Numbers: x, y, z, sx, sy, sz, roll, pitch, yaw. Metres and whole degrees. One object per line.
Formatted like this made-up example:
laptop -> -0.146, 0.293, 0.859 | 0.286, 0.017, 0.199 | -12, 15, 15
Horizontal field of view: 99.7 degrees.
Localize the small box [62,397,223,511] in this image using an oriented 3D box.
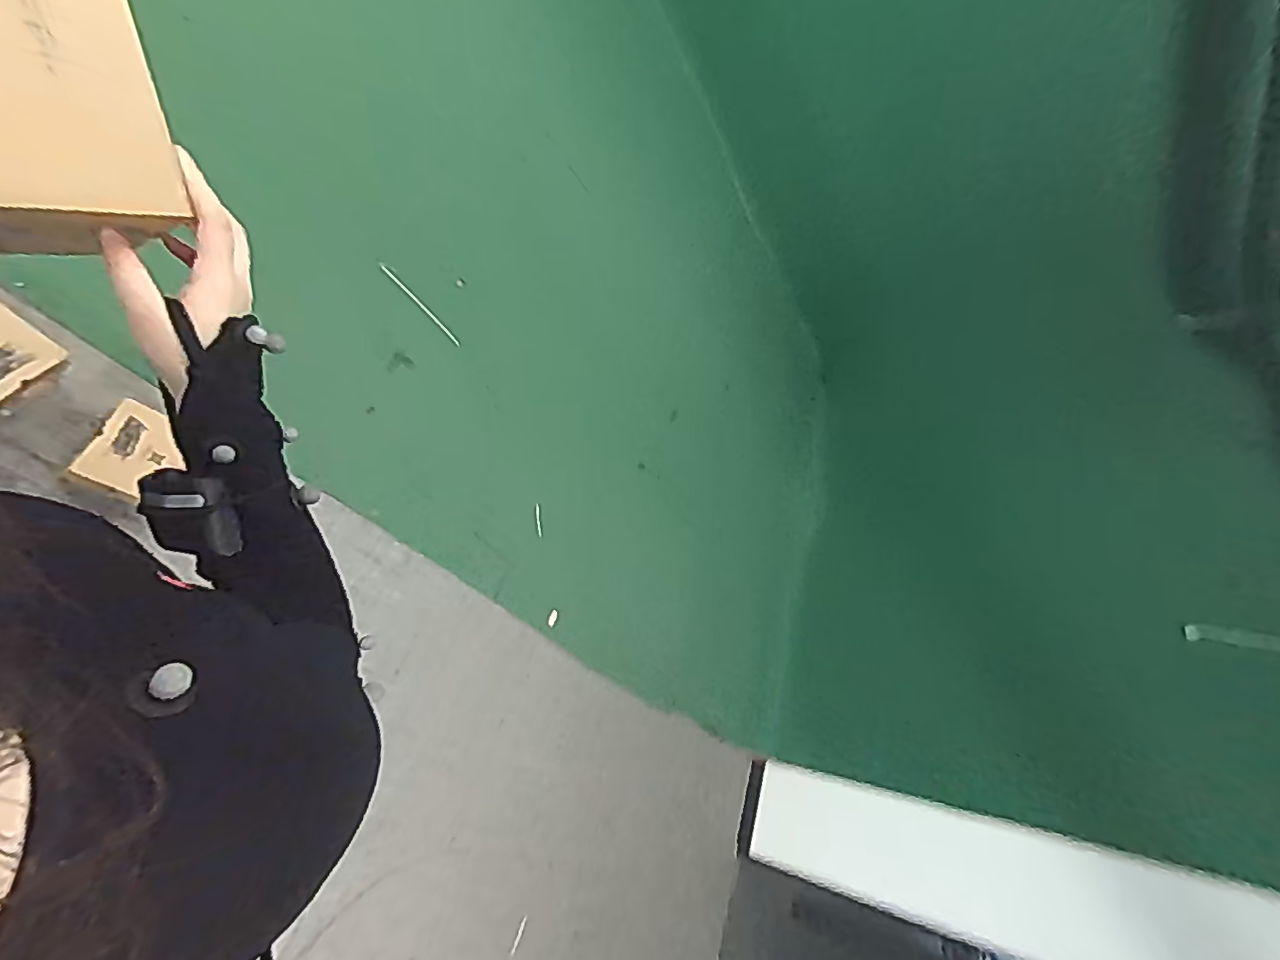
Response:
small box -> -1.011, -0.042, 1.099 | 0.179, 0.176, 0.168 | 41, 57, -42
